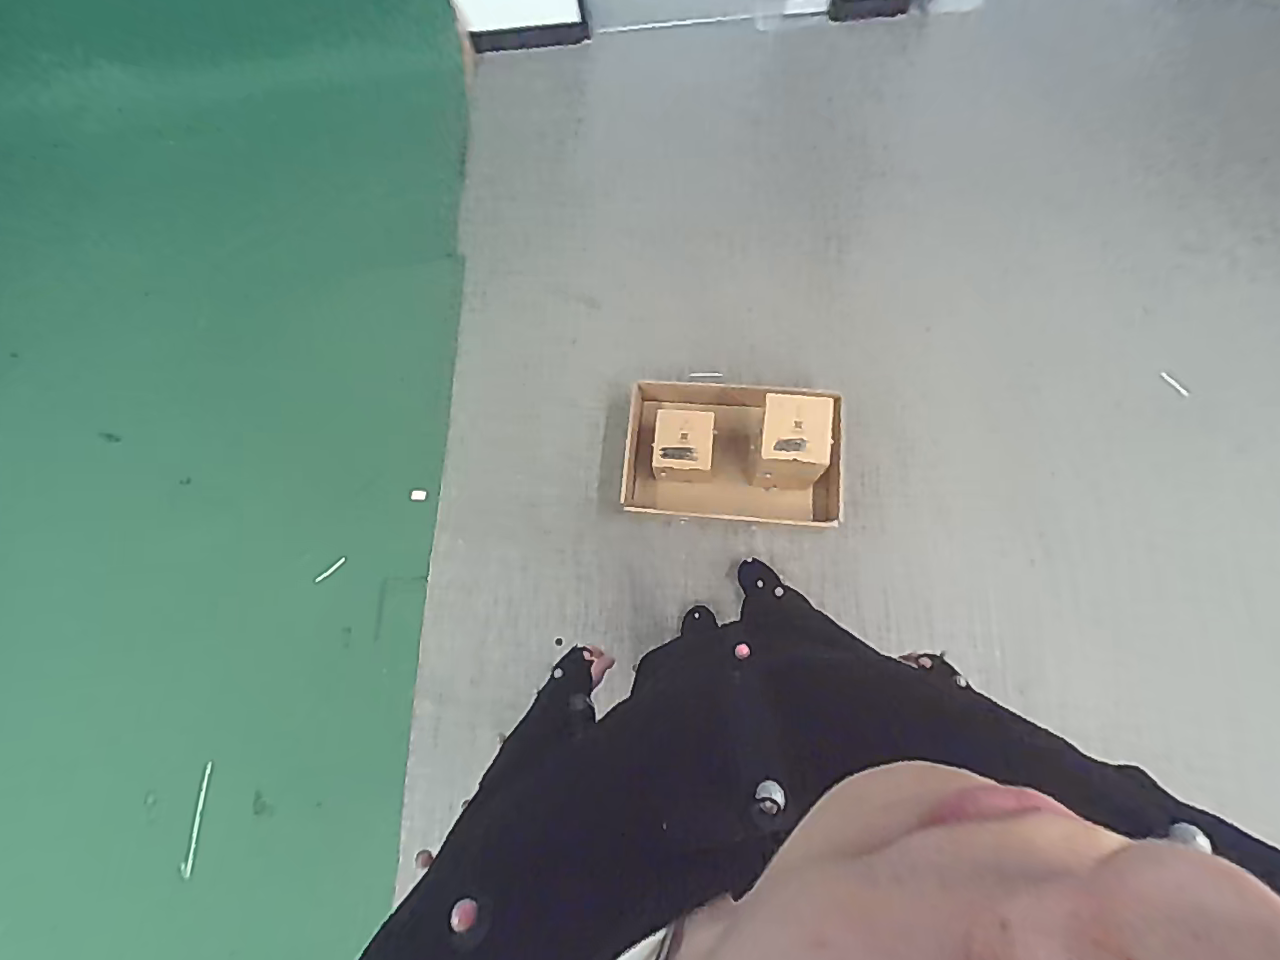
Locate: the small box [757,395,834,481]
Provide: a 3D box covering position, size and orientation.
[{"bbox_3d":[0.398,-0.103,1.405,0.168,0.176,0.179,6,76,8],"label":"small box"}]

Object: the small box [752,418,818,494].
[{"bbox_3d":[0.417,-0.066,1.563,0.168,0.176,0.179,4,78,8],"label":"small box"}]
